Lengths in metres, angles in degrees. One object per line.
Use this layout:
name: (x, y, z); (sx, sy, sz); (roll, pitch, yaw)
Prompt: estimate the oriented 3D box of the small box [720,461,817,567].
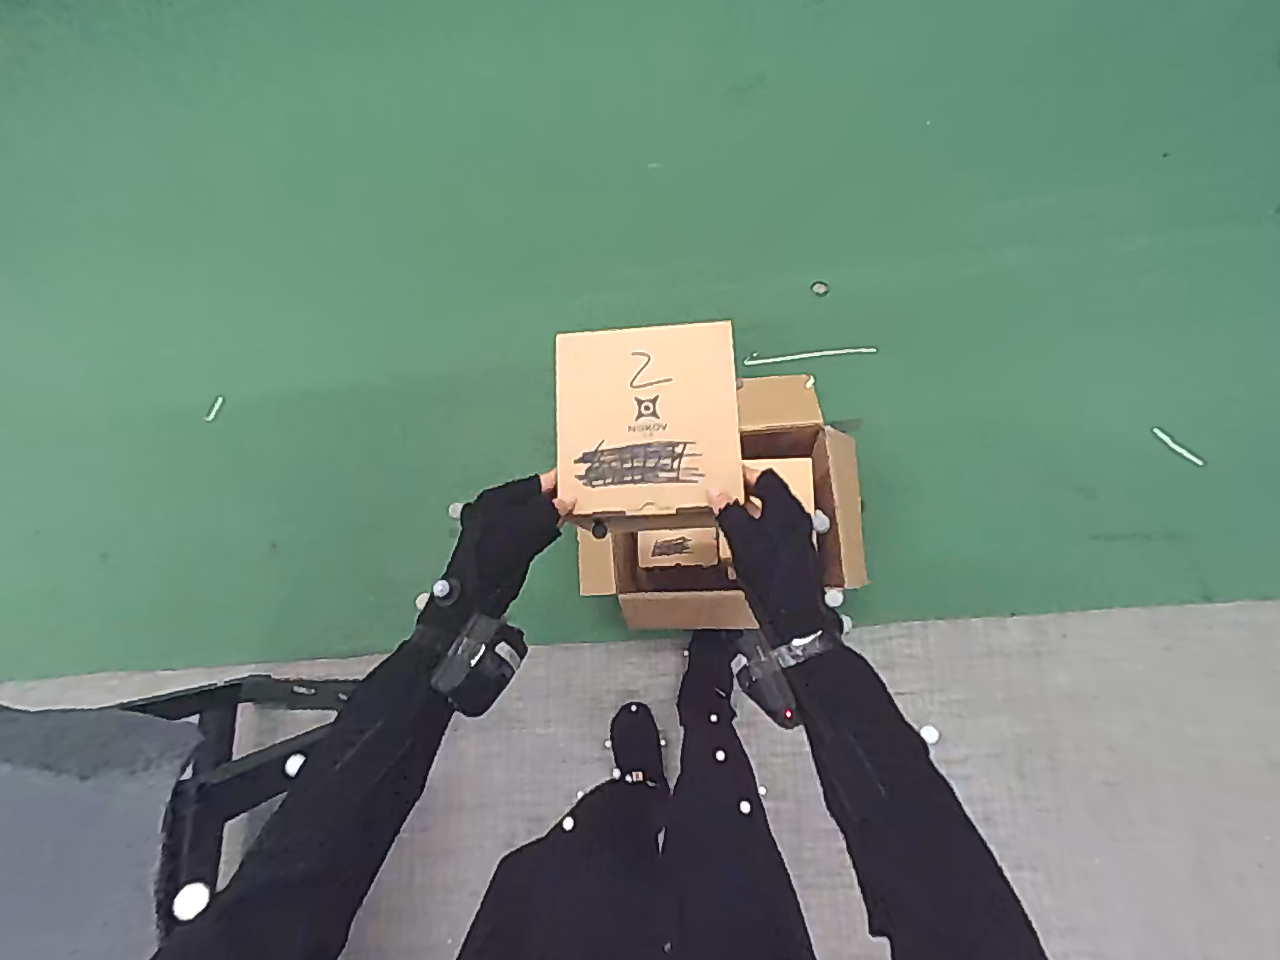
small box: (0.236, 0.070, 1.024); (0.168, 0.176, 0.179); (-2, 77, 10)
